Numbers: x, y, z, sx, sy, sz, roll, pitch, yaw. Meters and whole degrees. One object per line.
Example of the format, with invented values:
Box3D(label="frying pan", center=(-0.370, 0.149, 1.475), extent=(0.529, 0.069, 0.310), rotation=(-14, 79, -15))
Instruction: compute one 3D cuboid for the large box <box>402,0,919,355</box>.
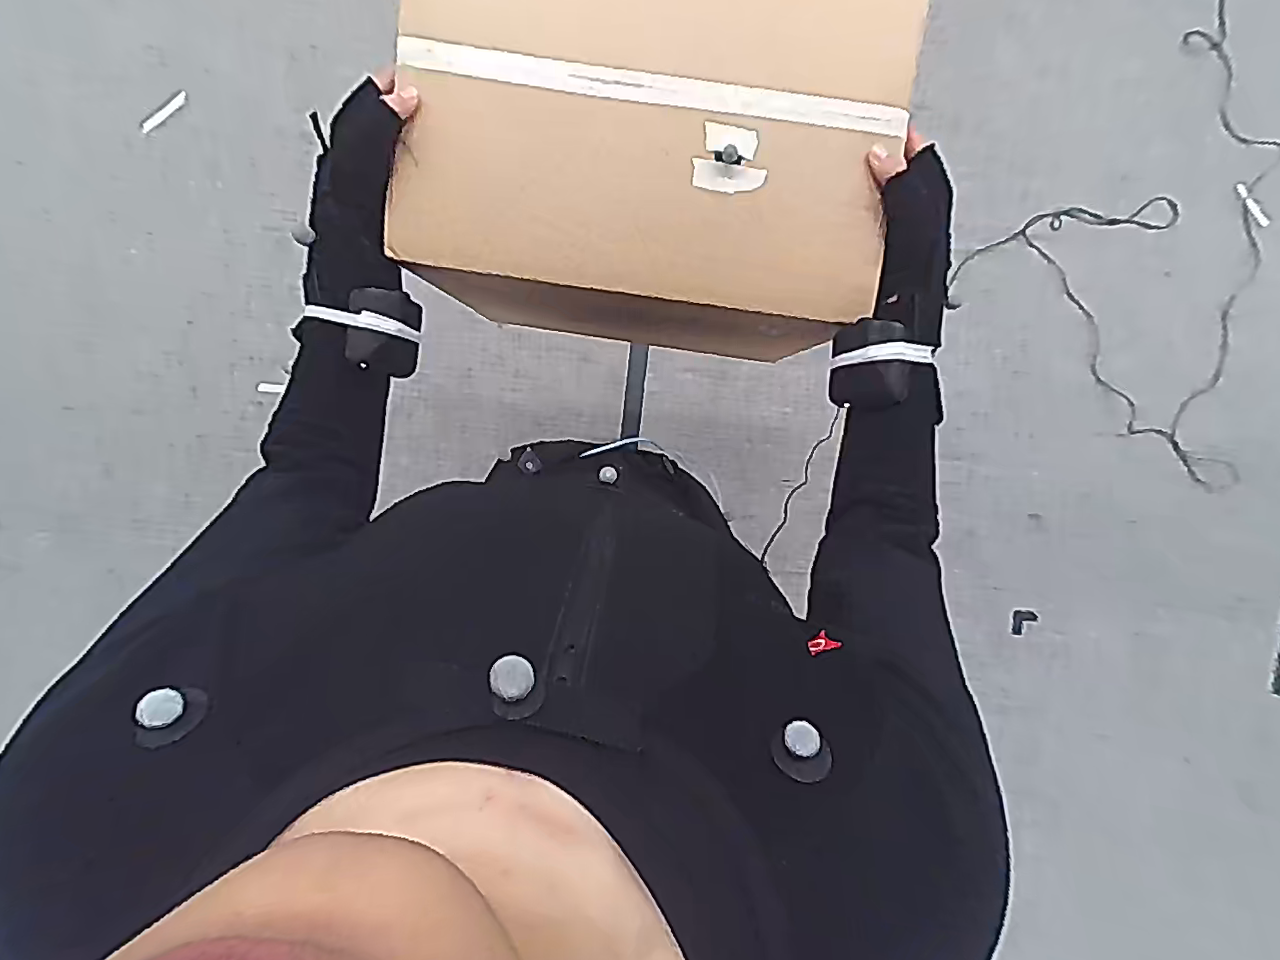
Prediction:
Box3D(label="large box", center=(0.011, -0.328, 0.584), extent=(0.408, 0.320, 0.320), rotation=(8, 98, -2))
